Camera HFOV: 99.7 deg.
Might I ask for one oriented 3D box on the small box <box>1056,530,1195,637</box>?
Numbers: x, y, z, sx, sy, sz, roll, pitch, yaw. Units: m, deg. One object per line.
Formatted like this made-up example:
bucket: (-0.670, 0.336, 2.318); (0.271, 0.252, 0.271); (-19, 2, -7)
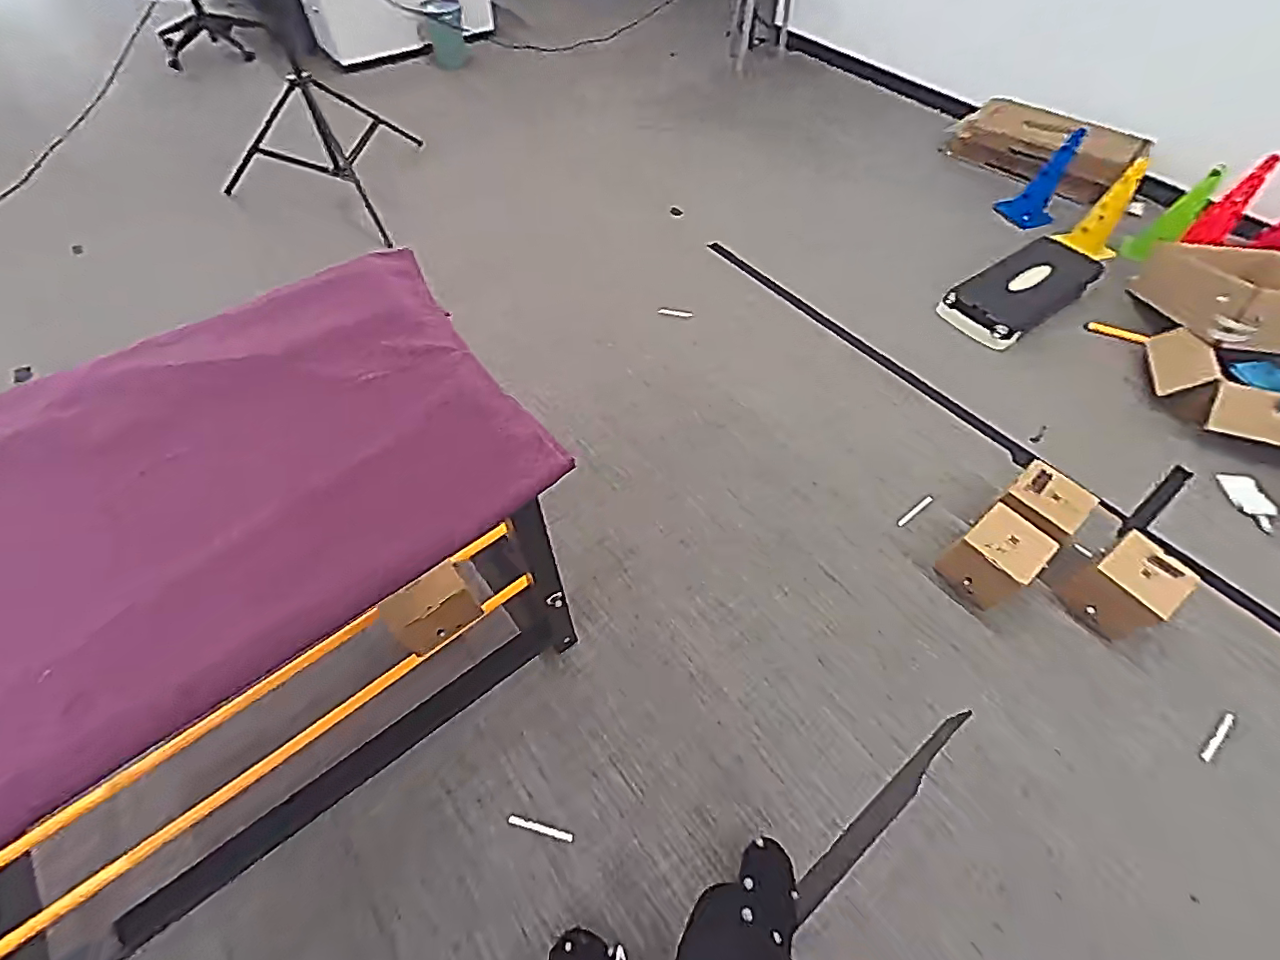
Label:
small box: (1.205, 0.262, 1.358); (0.179, 0.176, 0.168); (-31, 62, -19)

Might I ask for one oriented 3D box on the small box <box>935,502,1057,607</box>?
small box: (0.906, 0.195, 1.395); (0.179, 0.176, 0.168); (-34, 63, -21)

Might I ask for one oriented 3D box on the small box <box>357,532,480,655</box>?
small box: (-0.479, 0.253, 1.188); (0.168, 0.176, 0.179); (-34, 64, -21)
